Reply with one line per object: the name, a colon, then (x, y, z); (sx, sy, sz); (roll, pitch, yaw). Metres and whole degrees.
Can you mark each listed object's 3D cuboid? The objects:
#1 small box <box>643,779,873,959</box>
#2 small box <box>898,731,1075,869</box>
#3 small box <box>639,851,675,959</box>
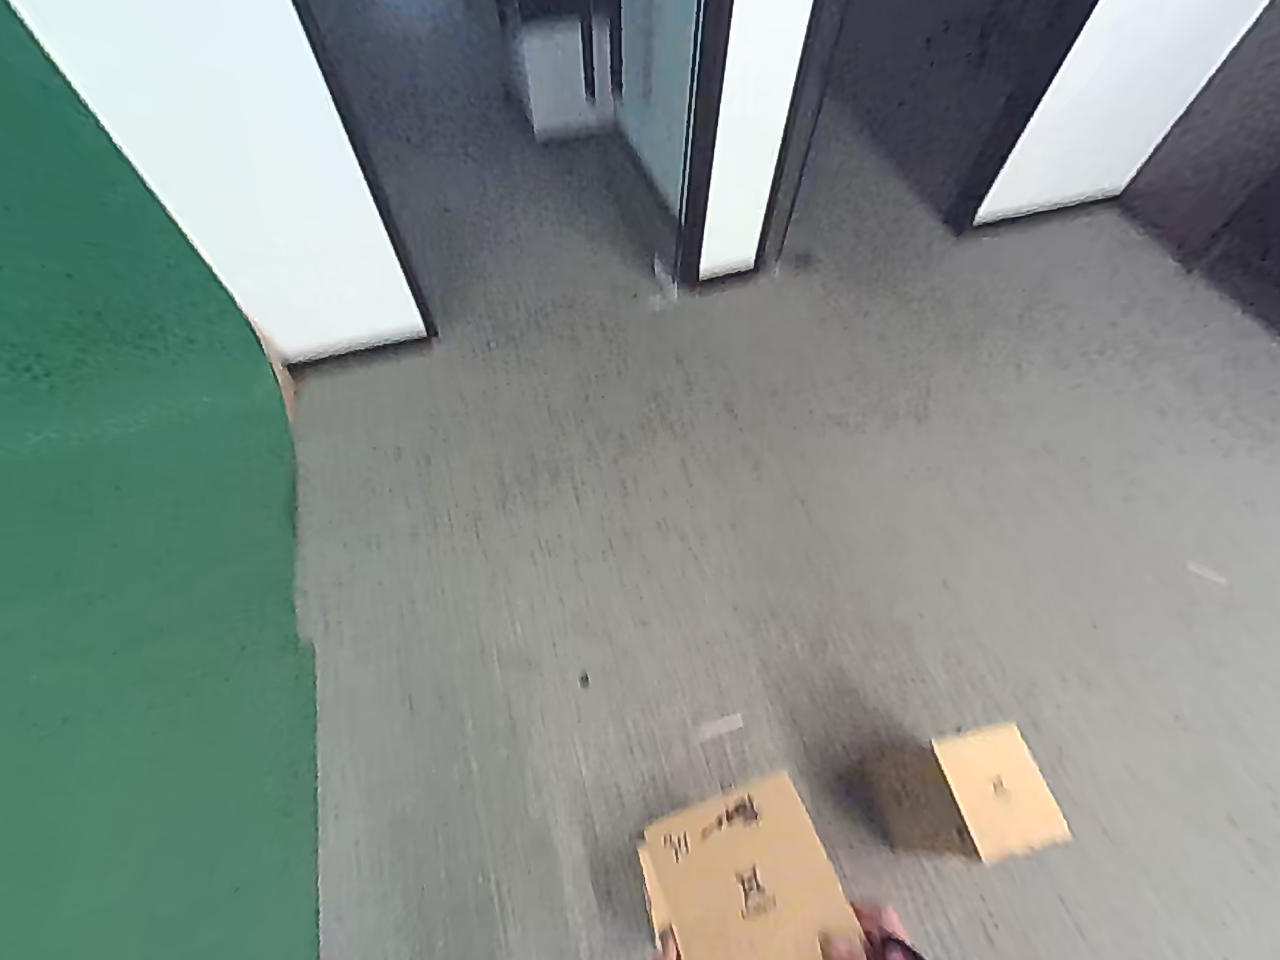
small box: (0.110, 0.444, 0.559); (0.168, 0.176, 0.179); (-16, 52, -11)
small box: (0.598, 0.568, 0.964); (0.168, 0.176, 0.179); (-9, 59, -8)
small box: (0.098, 0.776, 1.015); (0.179, 0.176, 0.168); (-10, 59, -8)
